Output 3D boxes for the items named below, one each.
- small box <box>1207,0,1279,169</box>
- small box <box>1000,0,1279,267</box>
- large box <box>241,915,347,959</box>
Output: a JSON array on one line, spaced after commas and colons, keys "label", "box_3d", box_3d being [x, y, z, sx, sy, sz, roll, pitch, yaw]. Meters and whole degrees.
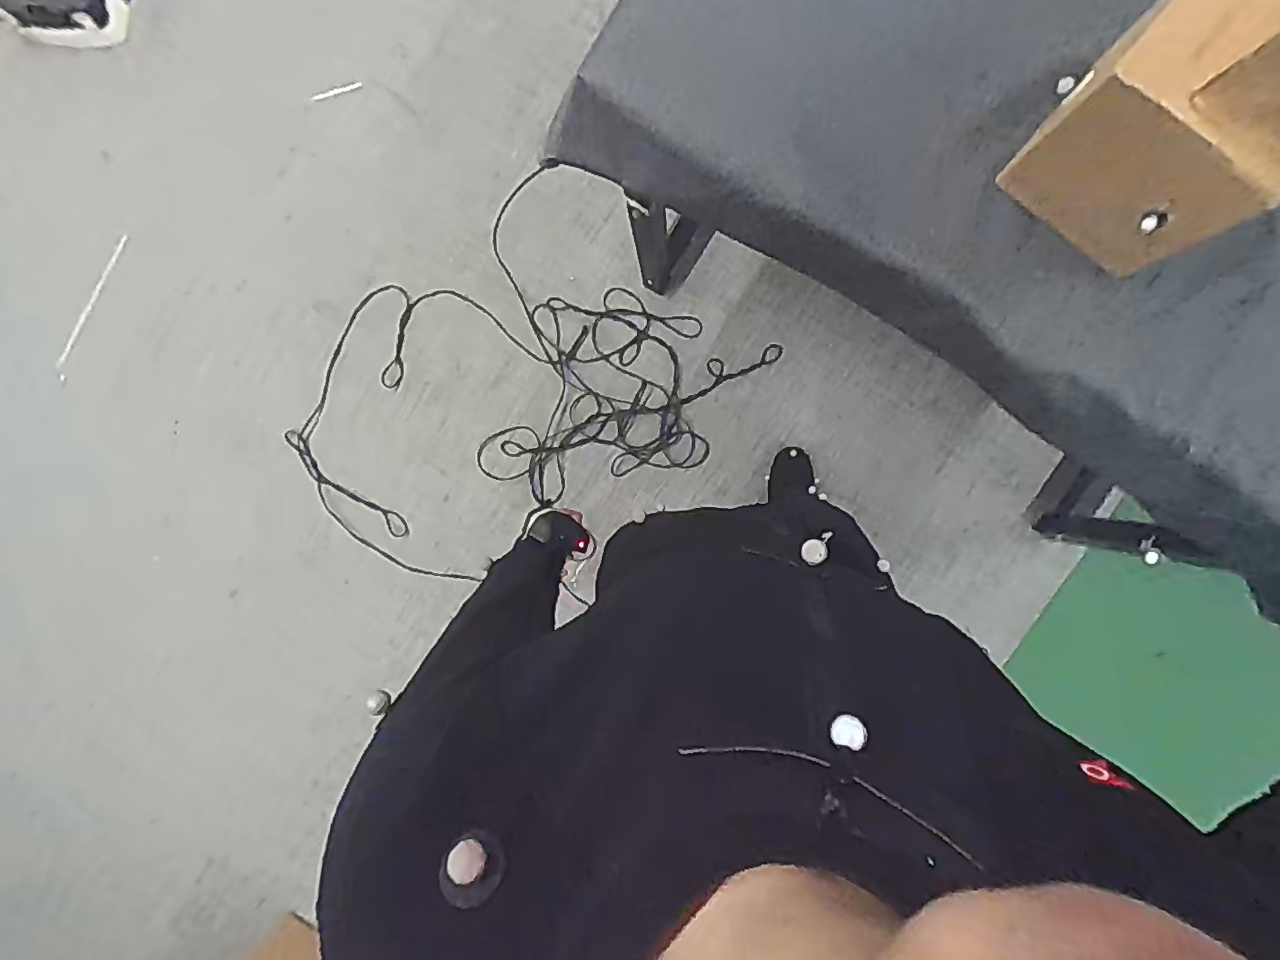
[{"label": "small box", "box_3d": [0.554, -0.319, 0.349, 0.168, 0.176, 0.179, 38, 93, 2]}, {"label": "small box", "box_3d": [0.505, -0.333, 0.514, 0.179, 0.176, 0.168, 40, 92, 4]}, {"label": "large box", "box_3d": [-0.885, 1.402, 1.308, 0.408, 0.320, 0.320, 32, 93, 5]}]
